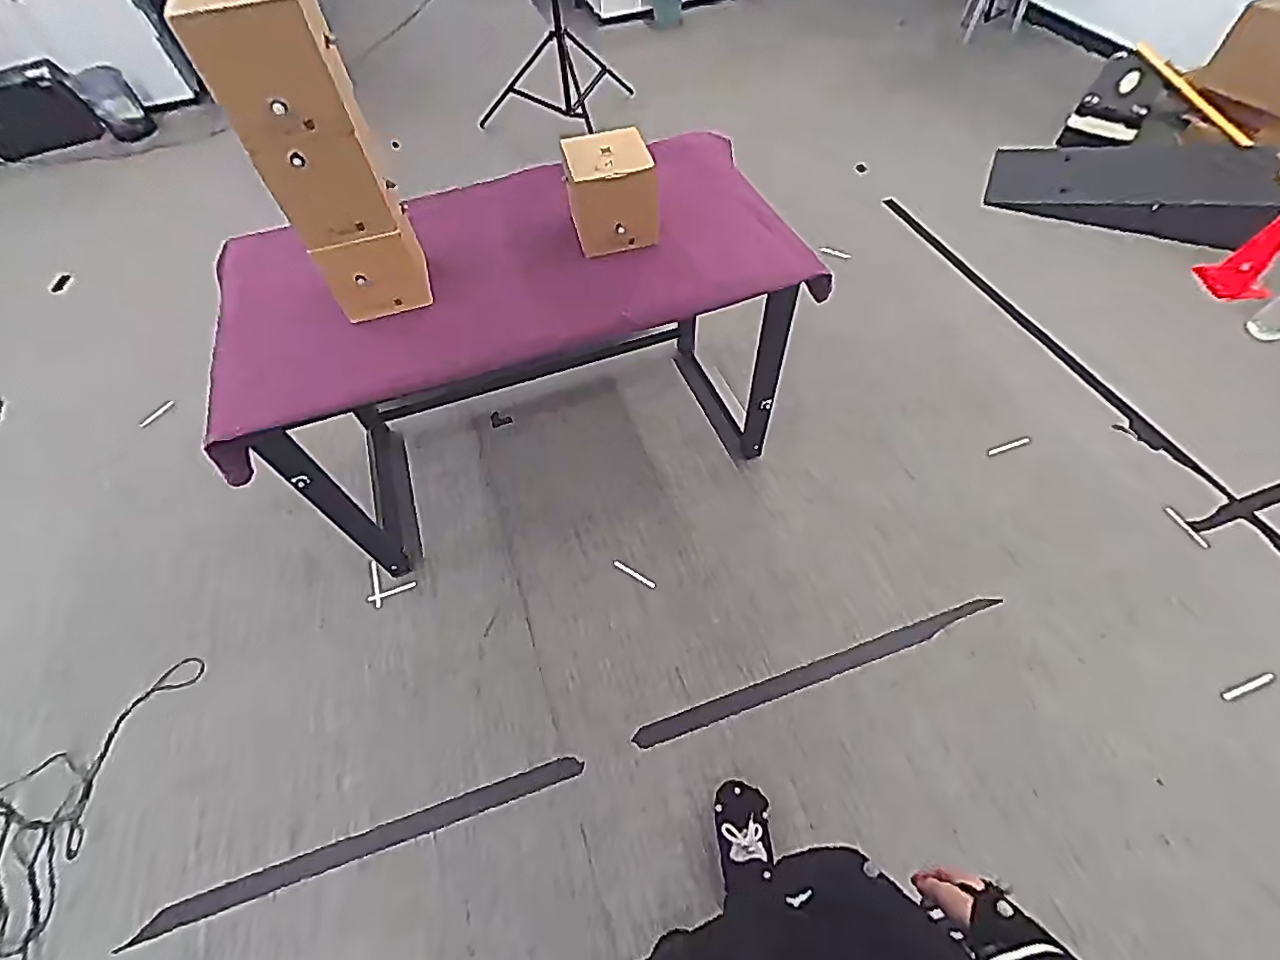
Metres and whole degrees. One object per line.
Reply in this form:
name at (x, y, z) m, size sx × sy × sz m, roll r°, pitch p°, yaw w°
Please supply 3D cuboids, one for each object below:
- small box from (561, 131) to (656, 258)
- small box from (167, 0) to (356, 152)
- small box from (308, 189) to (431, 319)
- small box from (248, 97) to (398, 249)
small box at (-0.065, -0.610, 1.161) m, size 0.168 × 0.176 × 0.179 m, roll -14°, pitch 58°, yaw -5°
small box at (-0.547, -0.627, 0.809) m, size 0.168 × 0.176 × 0.179 m, roll -17°, pitch 58°, yaw -8°
small box at (-0.534, -0.444, 1.082) m, size 0.168 × 0.176 × 0.179 m, roll -17°, pitch 58°, yaw -8°
small box at (-0.544, -0.538, 0.948) m, size 0.168 × 0.176 × 0.179 m, roll -18°, pitch 57°, yaw -8°
